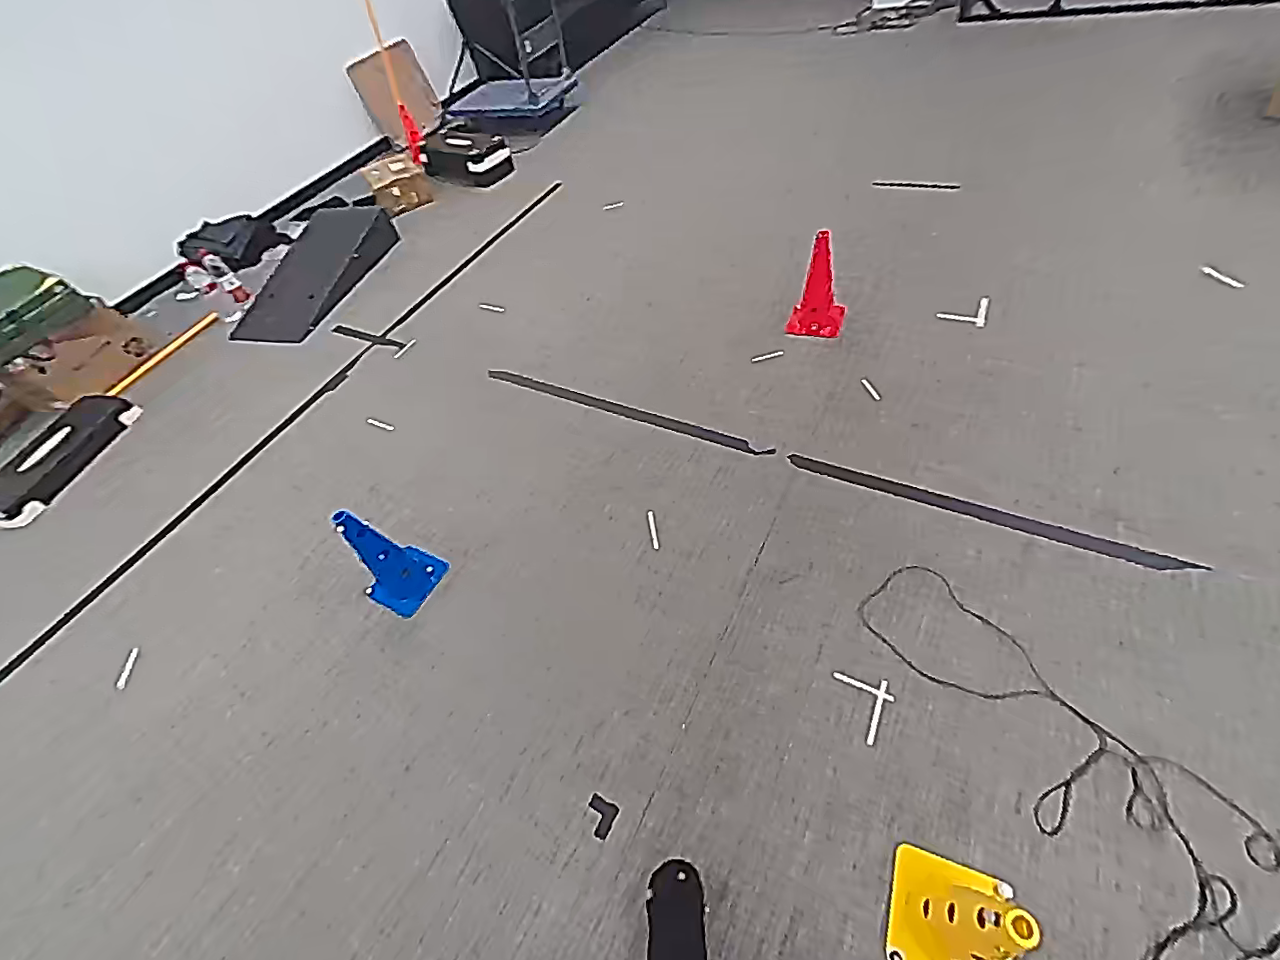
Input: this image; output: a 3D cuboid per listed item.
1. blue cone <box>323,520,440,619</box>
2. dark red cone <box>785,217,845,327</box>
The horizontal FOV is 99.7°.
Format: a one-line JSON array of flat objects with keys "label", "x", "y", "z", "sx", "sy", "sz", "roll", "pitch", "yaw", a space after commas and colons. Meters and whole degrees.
[{"label": "blue cone", "x": -0.755, "y": 0.221, "z": 1.528, "sx": 0.193, "sy": 0.380, "sz": 0.192, "roll": 19, "pitch": 59, "yaw": 25}, {"label": "dark red cone", "x": 0.648, "y": -0.754, "z": 1.954, "sx": 0.202, "sy": 0.394, "sz": 0.201, "roll": 11, "pitch": 56, "yaw": 21}]
